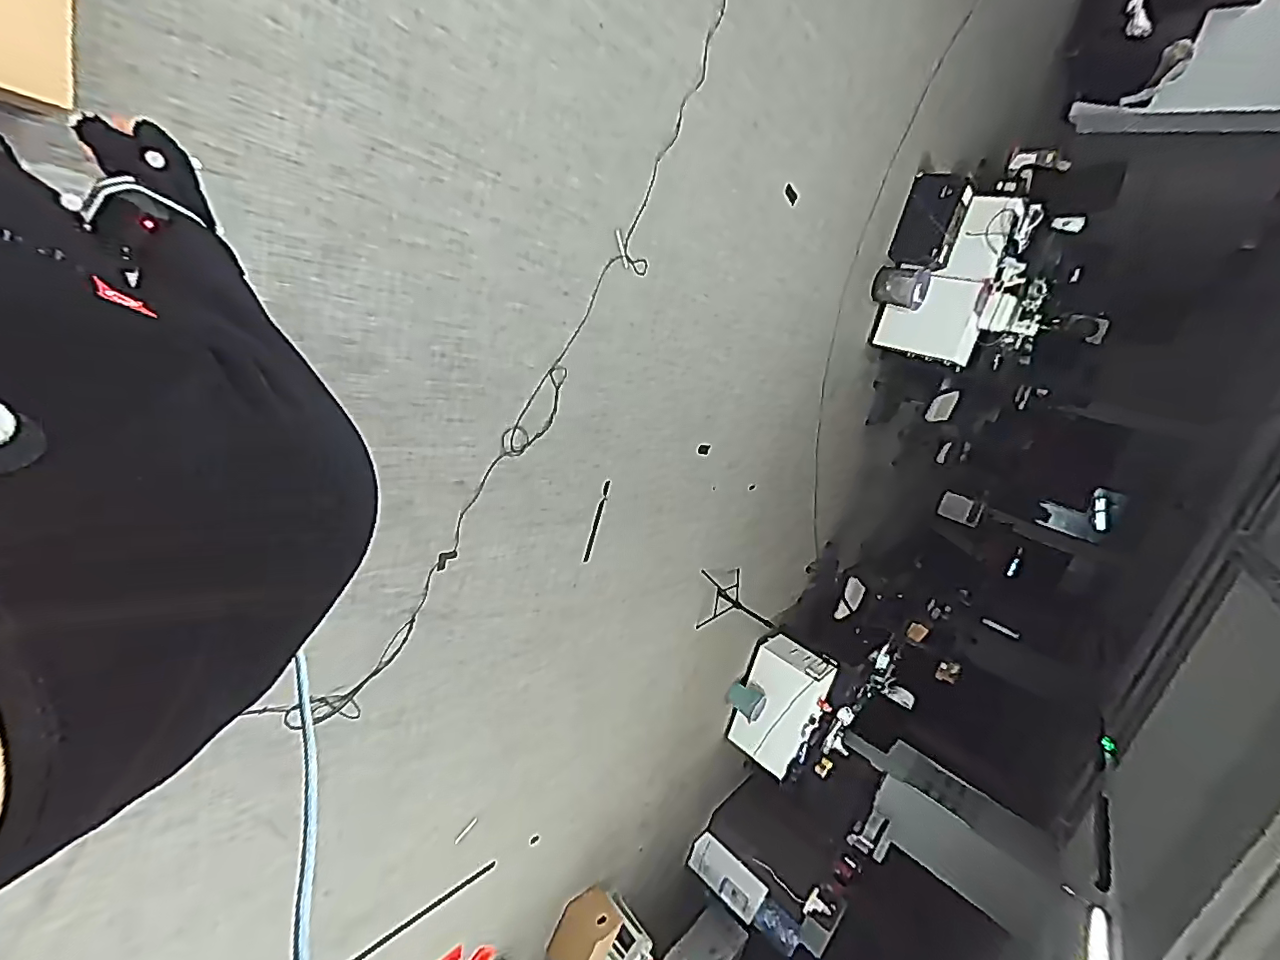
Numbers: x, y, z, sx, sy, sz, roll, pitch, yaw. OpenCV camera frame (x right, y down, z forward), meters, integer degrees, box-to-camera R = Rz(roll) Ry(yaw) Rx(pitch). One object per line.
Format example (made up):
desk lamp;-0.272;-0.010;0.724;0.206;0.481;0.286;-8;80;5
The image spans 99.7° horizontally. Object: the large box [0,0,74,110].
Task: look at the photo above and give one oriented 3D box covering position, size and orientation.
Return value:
large box;-0.991;-0.702;0.643;0.408;0.320;0.320;-5;116;-51
